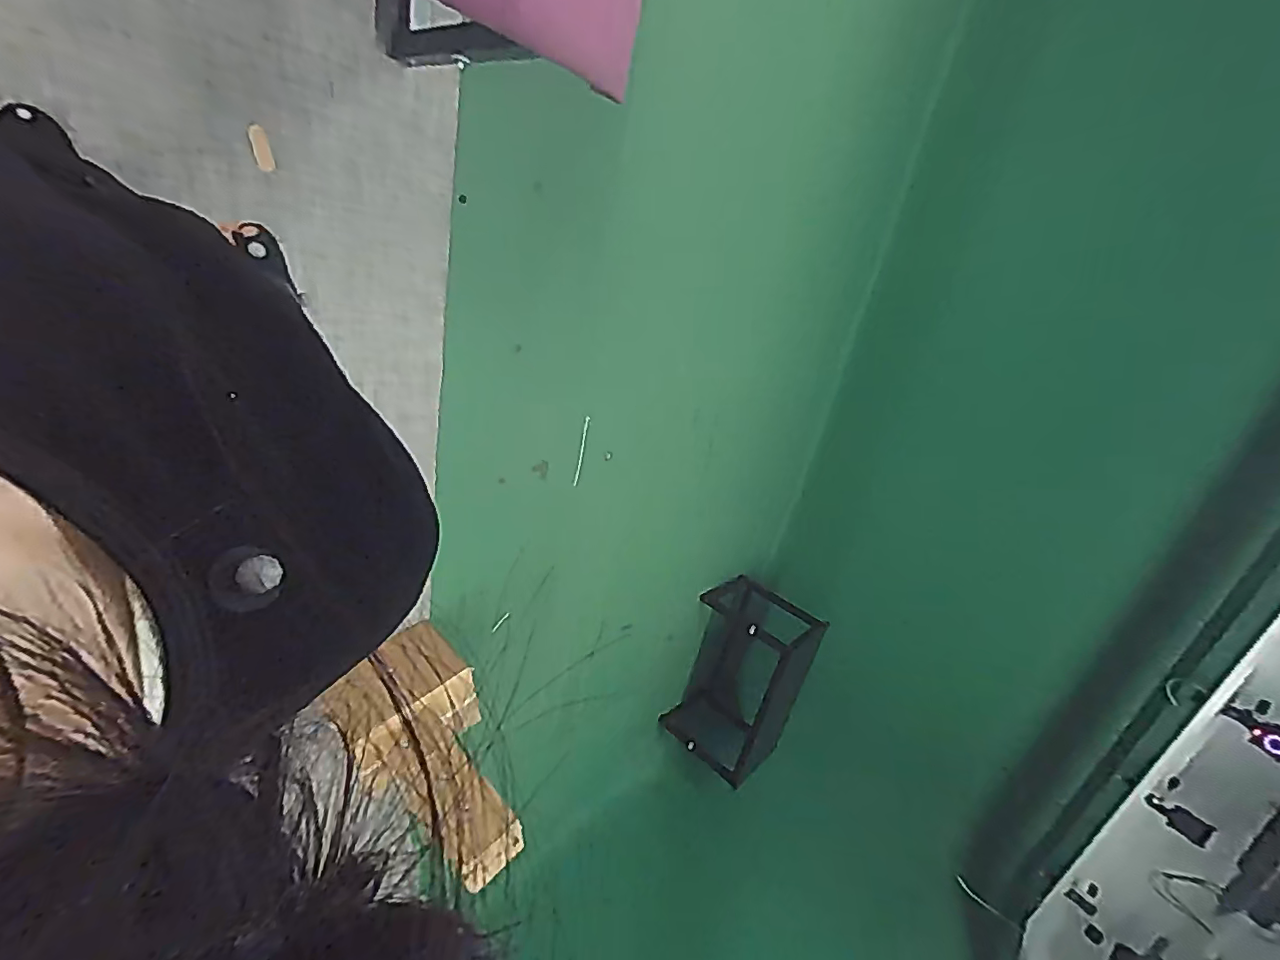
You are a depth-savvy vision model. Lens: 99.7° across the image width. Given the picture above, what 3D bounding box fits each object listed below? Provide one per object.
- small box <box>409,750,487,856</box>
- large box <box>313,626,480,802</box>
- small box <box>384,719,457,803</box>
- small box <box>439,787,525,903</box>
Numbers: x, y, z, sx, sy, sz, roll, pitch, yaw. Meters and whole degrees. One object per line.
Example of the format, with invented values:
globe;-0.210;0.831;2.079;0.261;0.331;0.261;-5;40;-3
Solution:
small box;-0.572;0.963;1.624;0.179;0.176;0.168;-29;134;-38
large box;-0.835;0.797;1.890;0.408;0.320;0.320;-30;135;-39
small box;-0.688;0.896;1.718;0.168;0.176;0.179;-28;133;-38
small box;-0.451;1.028;1.533;0.179;0.176;0.168;-27;133;-37
